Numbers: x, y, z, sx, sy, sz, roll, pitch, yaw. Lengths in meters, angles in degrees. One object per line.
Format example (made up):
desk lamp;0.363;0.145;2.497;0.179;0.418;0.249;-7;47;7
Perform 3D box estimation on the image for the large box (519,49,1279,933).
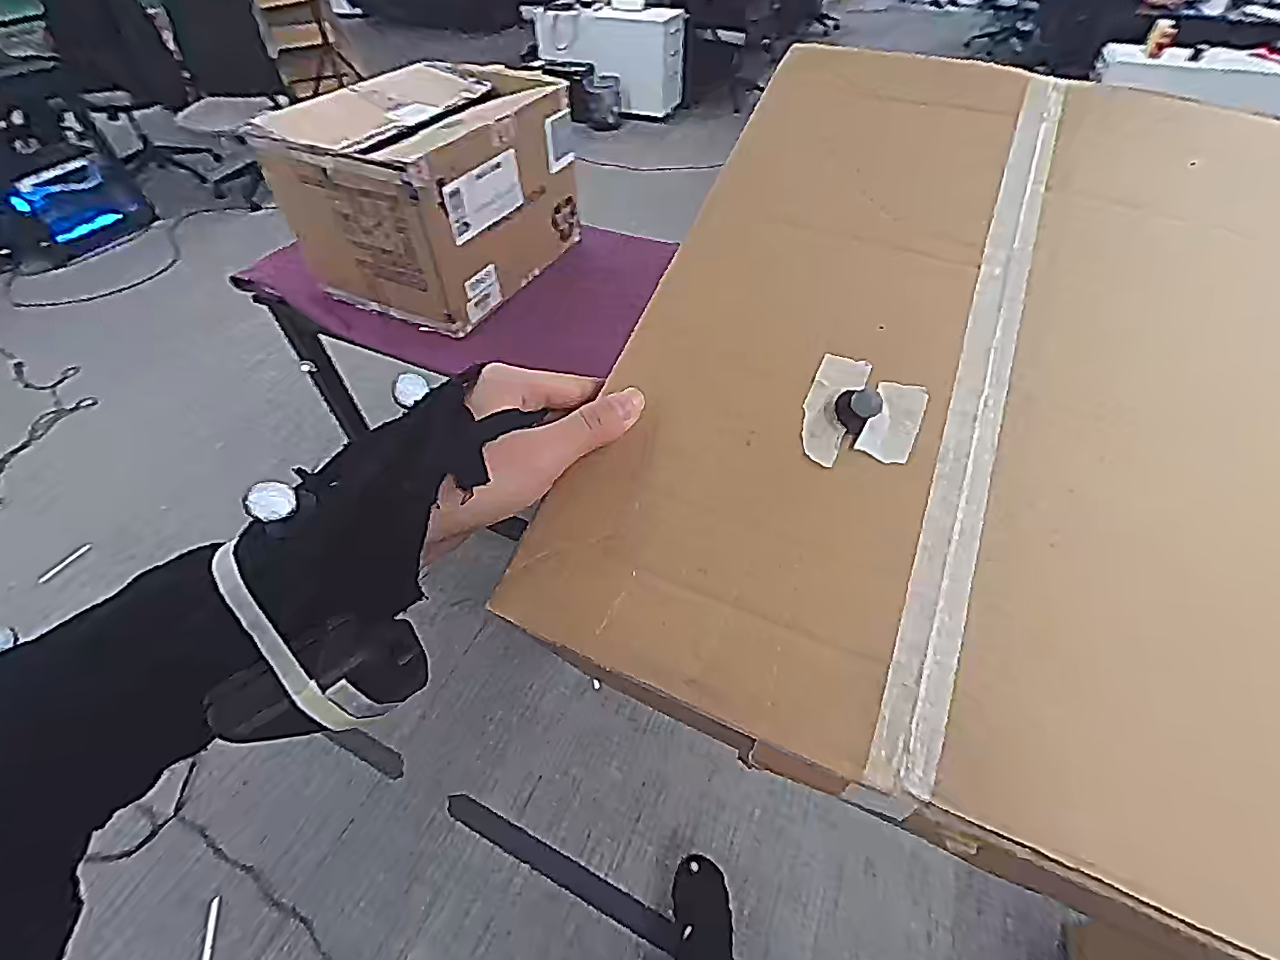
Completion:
large box;0.169;-0.011;0.395;0.320;0.320;0.408;19;68;13
